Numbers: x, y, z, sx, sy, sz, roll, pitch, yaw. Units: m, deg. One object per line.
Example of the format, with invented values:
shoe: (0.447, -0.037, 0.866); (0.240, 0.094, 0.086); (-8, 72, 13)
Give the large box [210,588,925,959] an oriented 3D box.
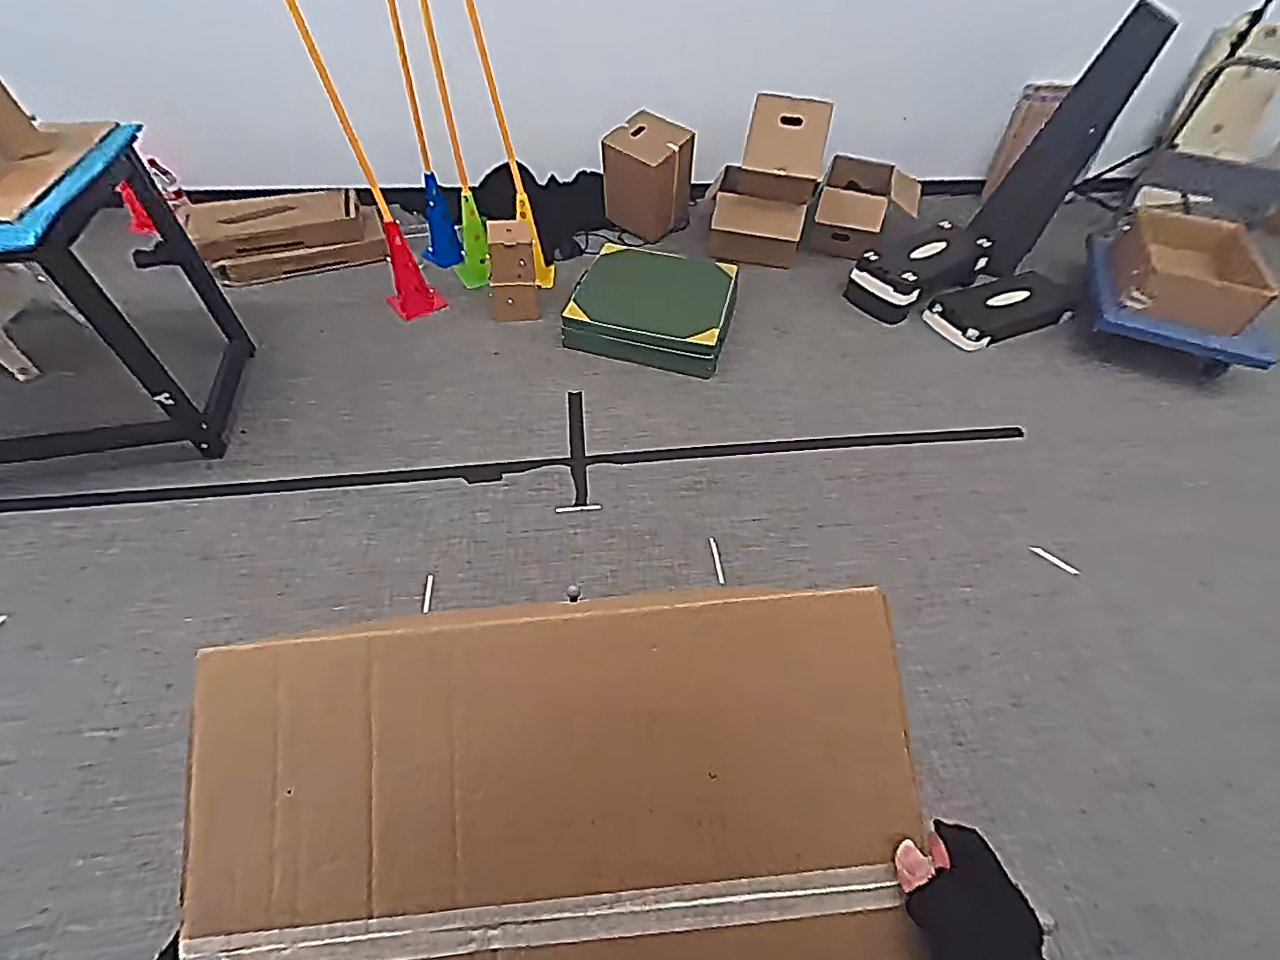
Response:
large box: (-0.040, 0.270, 0.452); (0.408, 0.320, 0.320); (-5, 79, -1)
